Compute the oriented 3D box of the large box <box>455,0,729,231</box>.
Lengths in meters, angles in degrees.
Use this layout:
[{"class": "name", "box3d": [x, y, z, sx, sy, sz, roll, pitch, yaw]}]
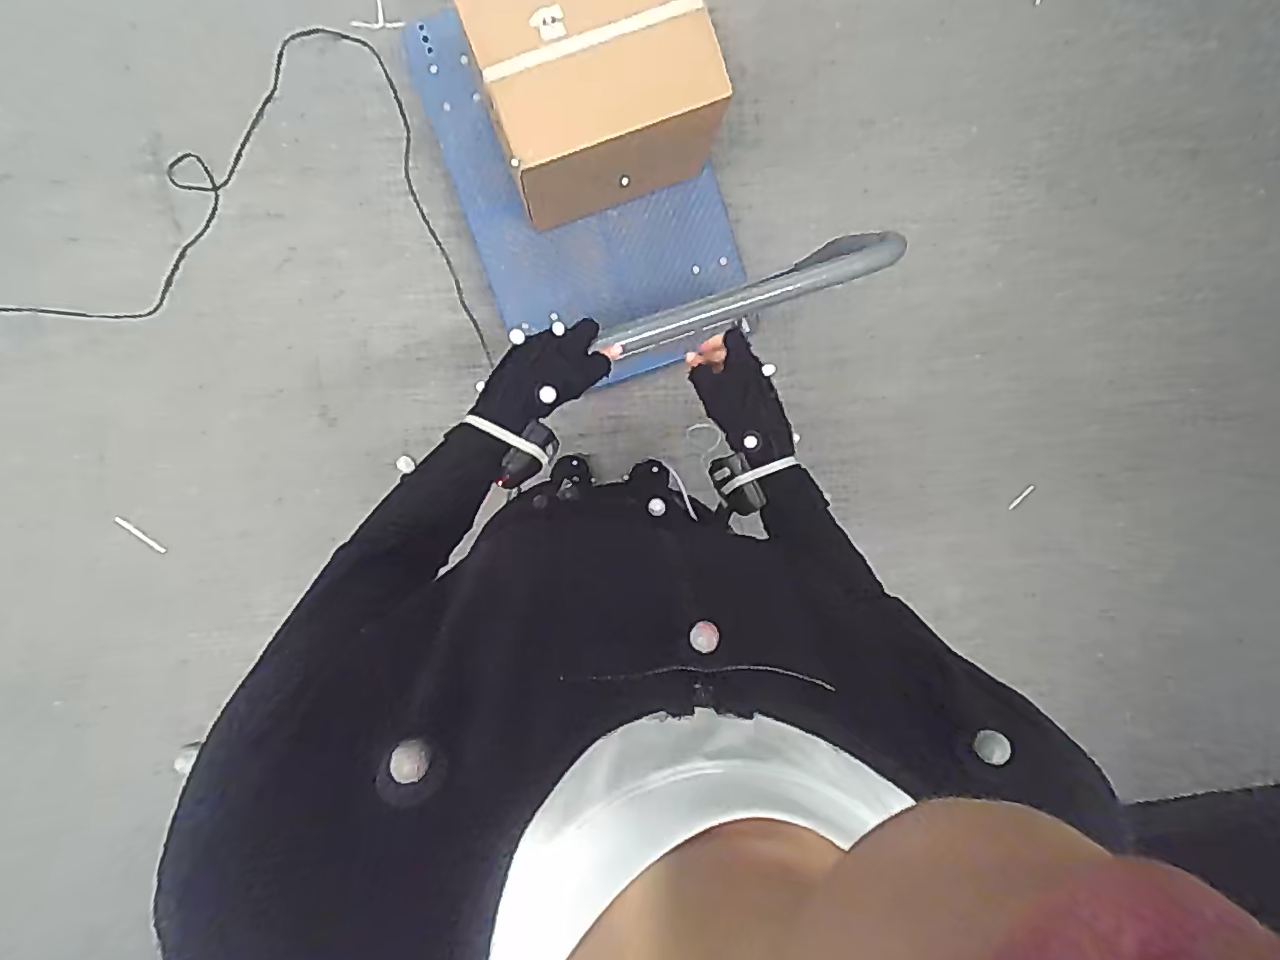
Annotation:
[{"class": "large box", "box3d": [-0.087, -0.761, 1.079, 0.408, 0.320, 0.320, -21, 96, -2]}]
